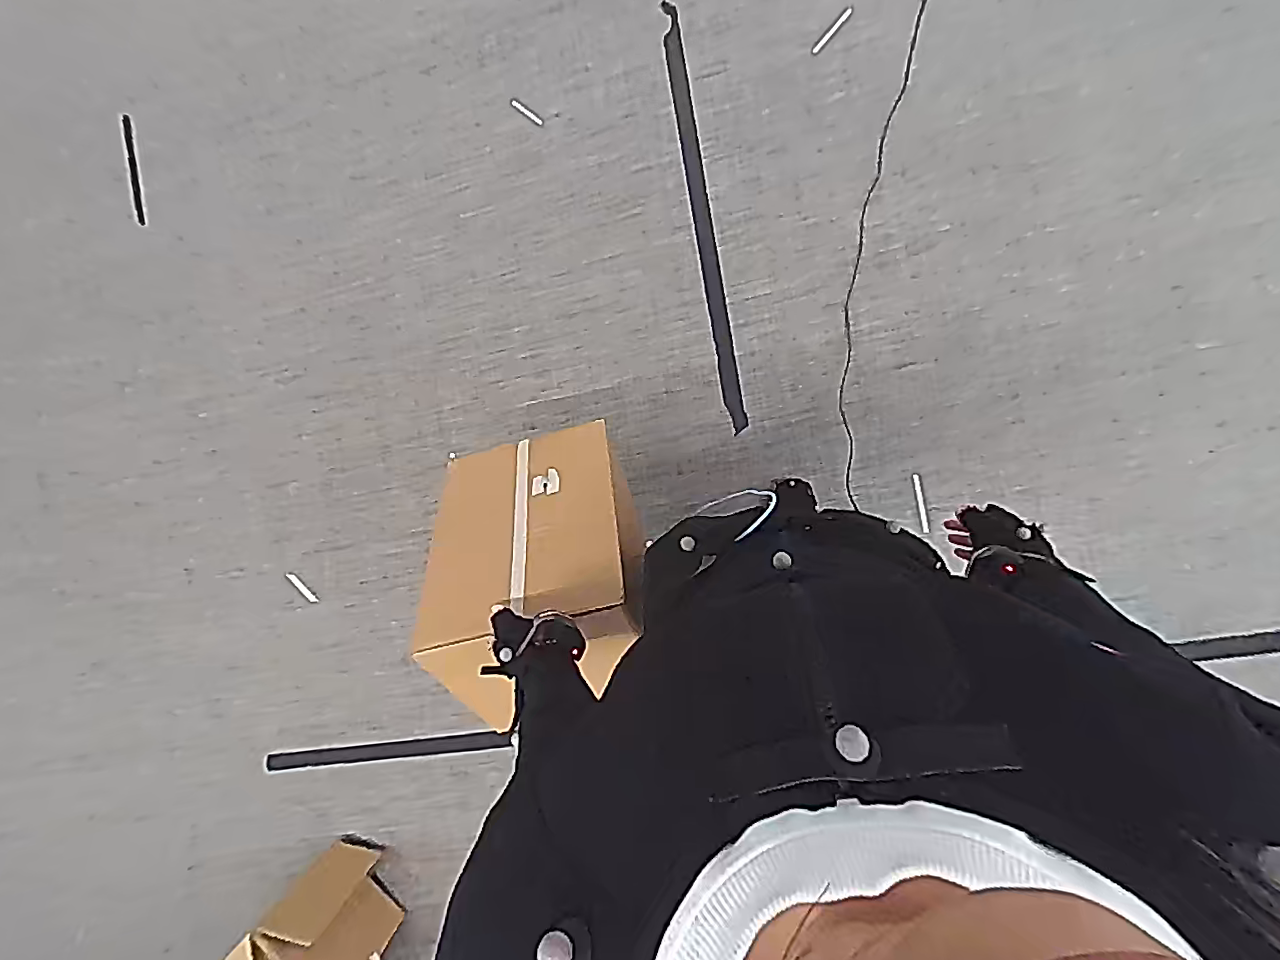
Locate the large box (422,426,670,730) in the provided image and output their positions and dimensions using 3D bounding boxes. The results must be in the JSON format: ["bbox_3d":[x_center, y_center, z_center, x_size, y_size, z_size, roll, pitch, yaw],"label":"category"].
[{"bbox_3d":[-0.152,0.172,0.987,0.320,0.320,0.408,-14,44,3],"label":"large box"}]
